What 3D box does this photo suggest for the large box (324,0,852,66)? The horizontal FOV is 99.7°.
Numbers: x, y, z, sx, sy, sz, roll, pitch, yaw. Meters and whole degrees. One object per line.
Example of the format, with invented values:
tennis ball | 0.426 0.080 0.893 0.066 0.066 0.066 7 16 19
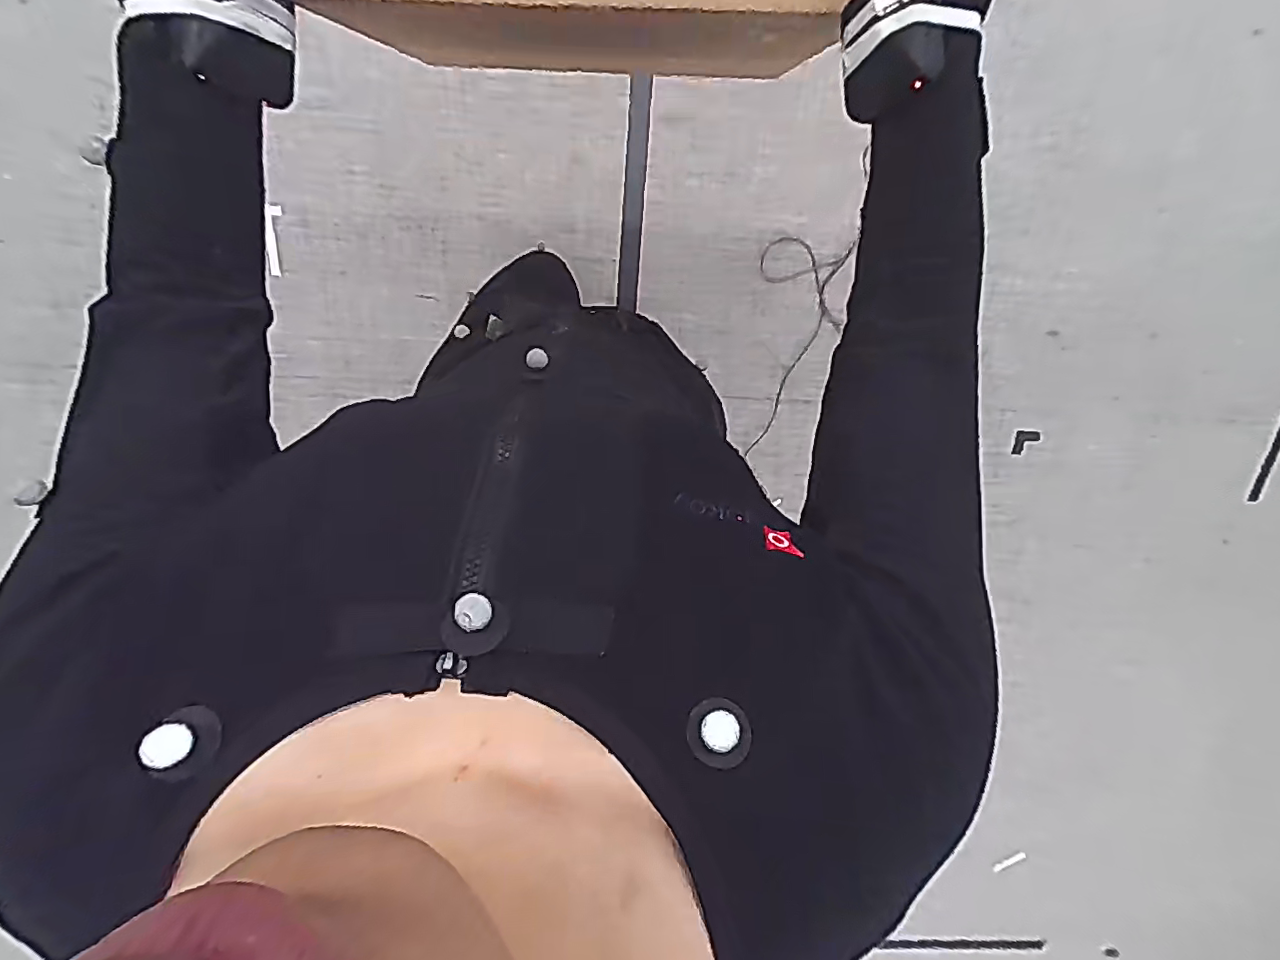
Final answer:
large box | -0.040 -0.537 0.418 0.408 0.320 0.320 0 121 -2
